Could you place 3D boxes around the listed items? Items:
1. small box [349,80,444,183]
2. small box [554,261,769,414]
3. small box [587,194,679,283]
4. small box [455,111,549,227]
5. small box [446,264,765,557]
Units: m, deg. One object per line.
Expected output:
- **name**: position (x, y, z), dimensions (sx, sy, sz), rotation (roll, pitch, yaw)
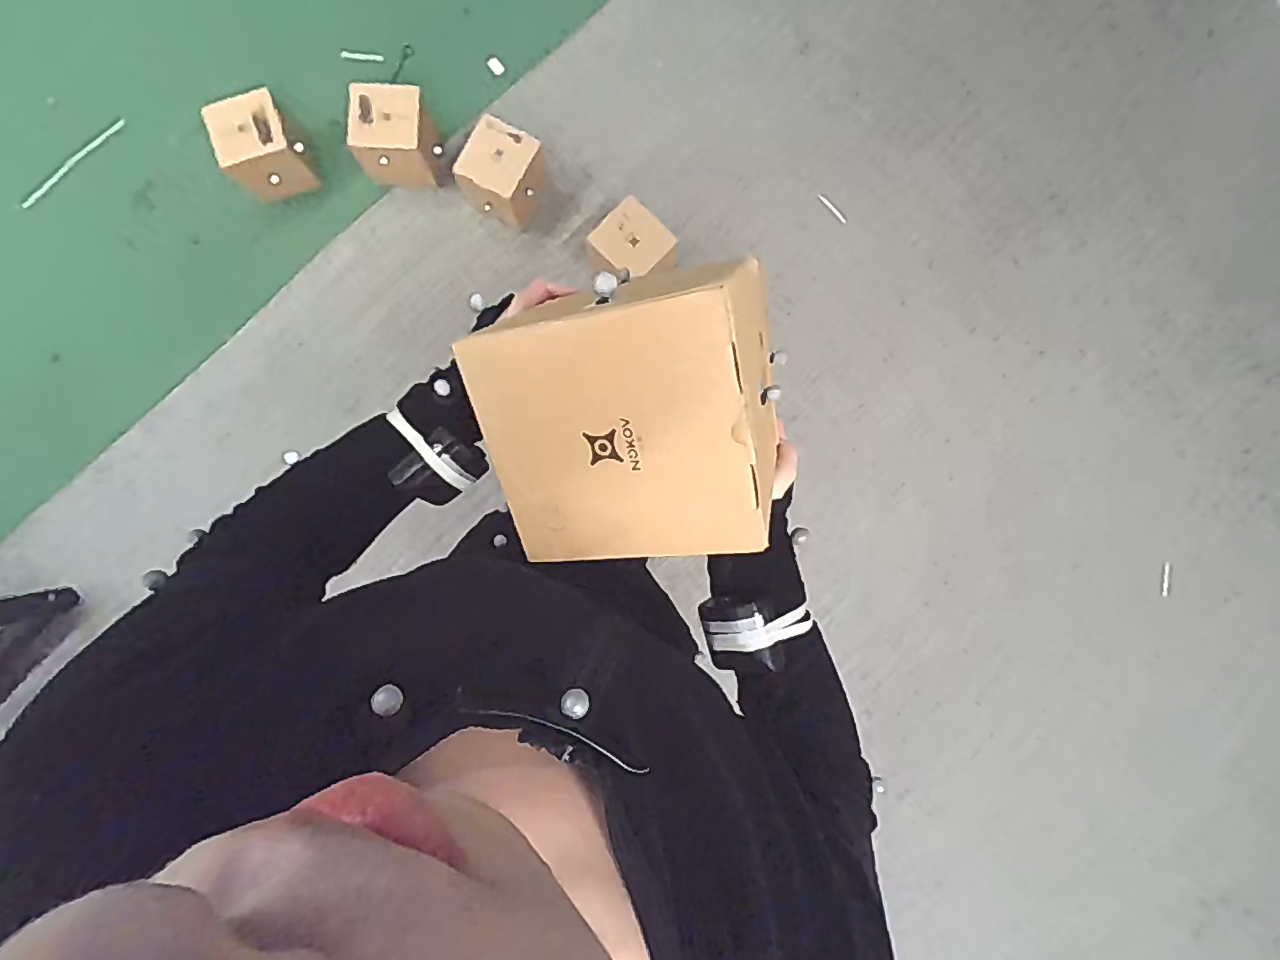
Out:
- **small box**: position (-0.639, -0.917, 1.435), dimensions (0.179, 0.176, 0.168), rotation (2, 88, -2)
- **small box**: position (0.035, -0.122, 0.555), dimensions (0.179, 0.176, 0.168), rotation (-2, 116, 17)
- **small box**: position (-0.019, -0.605, 1.439), dimensions (0.179, 0.176, 0.168), rotation (45, 87, 0)
- **small box**: position (-0.357, -0.817, 1.439), dimensions (0.168, 0.176, 0.179), rotation (29, 88, 0)
- **small box**: position (-0.006, -0.057, 0.412), dimensions (0.179, 0.176, 0.168), rotation (-6, 115, 18)
